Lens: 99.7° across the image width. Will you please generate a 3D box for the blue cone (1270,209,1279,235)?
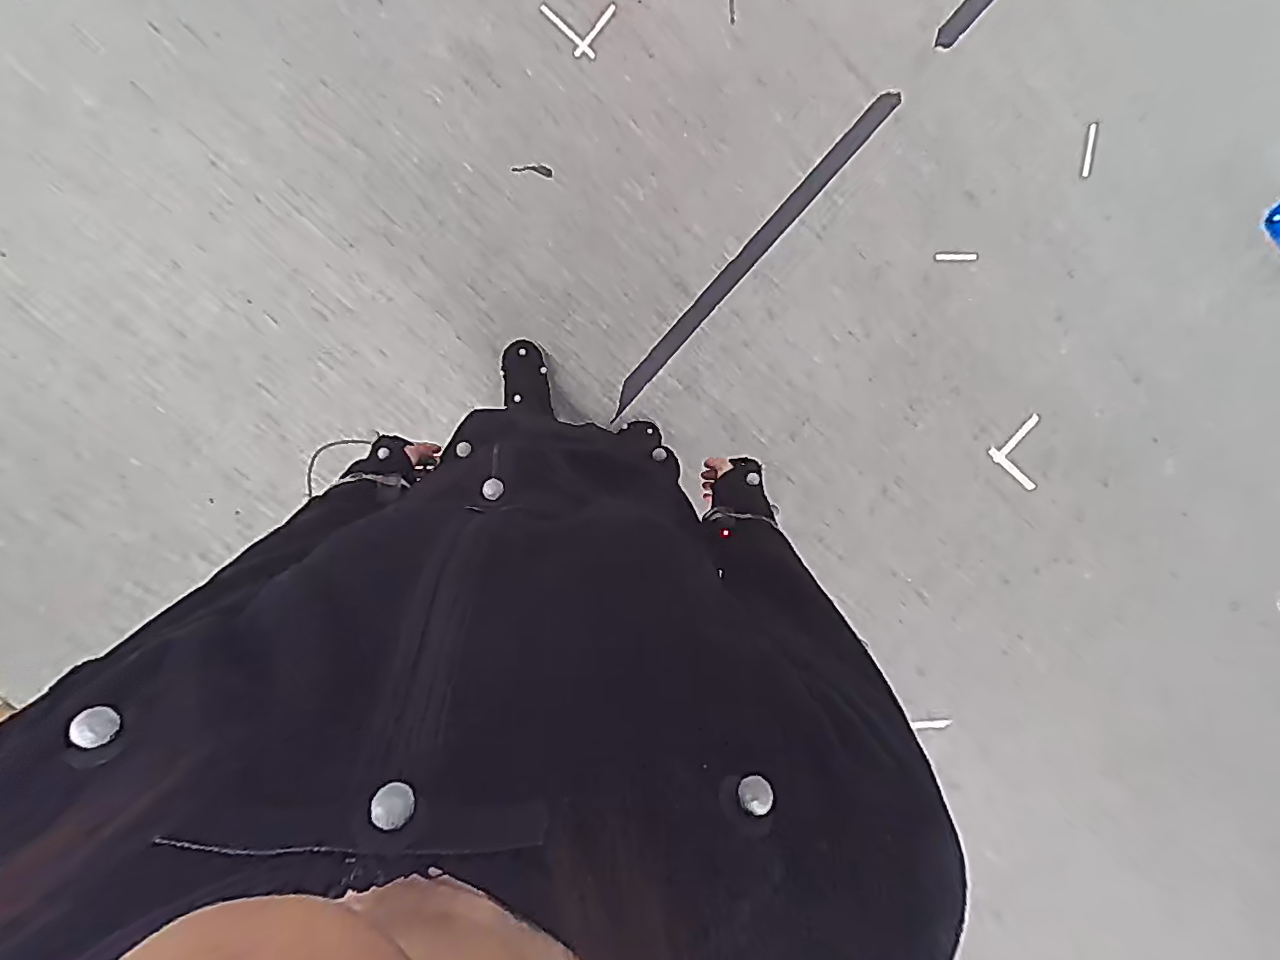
[{"bbox_3d":[1.722,-0.628,1.209,0.192,0.380,0.193,-44,99,7],"label":"blue cone"}]
